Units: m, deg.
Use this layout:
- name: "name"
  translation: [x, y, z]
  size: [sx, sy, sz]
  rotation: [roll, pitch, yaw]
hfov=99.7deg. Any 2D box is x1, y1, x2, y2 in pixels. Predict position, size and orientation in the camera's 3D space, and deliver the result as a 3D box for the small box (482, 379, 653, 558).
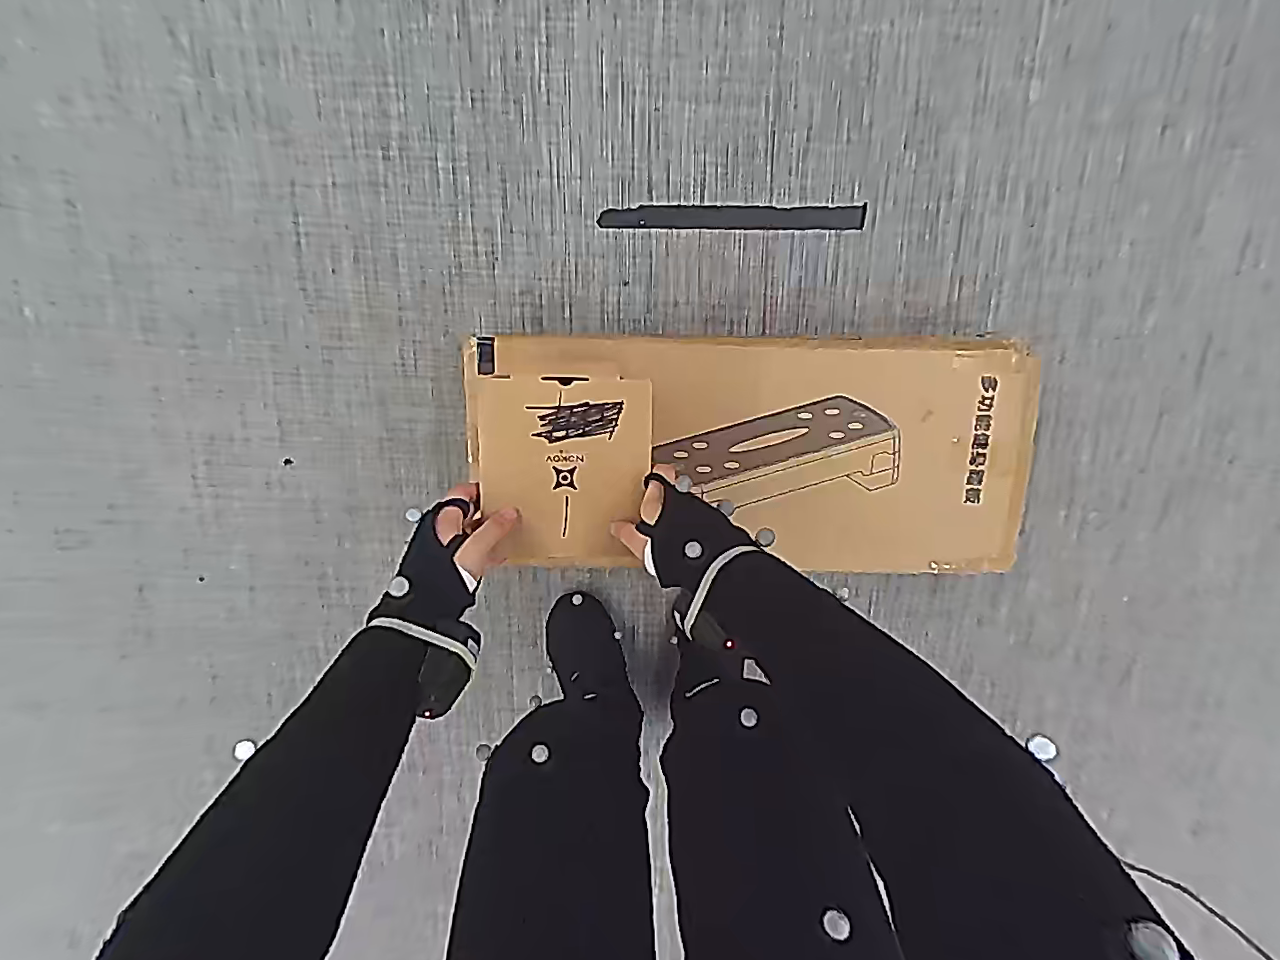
- name: "small box"
  translation: [-0.076, -0.018, 0.604]
  size: [0.168, 0.176, 0.179]
  rotation: [0, 97, -3]
